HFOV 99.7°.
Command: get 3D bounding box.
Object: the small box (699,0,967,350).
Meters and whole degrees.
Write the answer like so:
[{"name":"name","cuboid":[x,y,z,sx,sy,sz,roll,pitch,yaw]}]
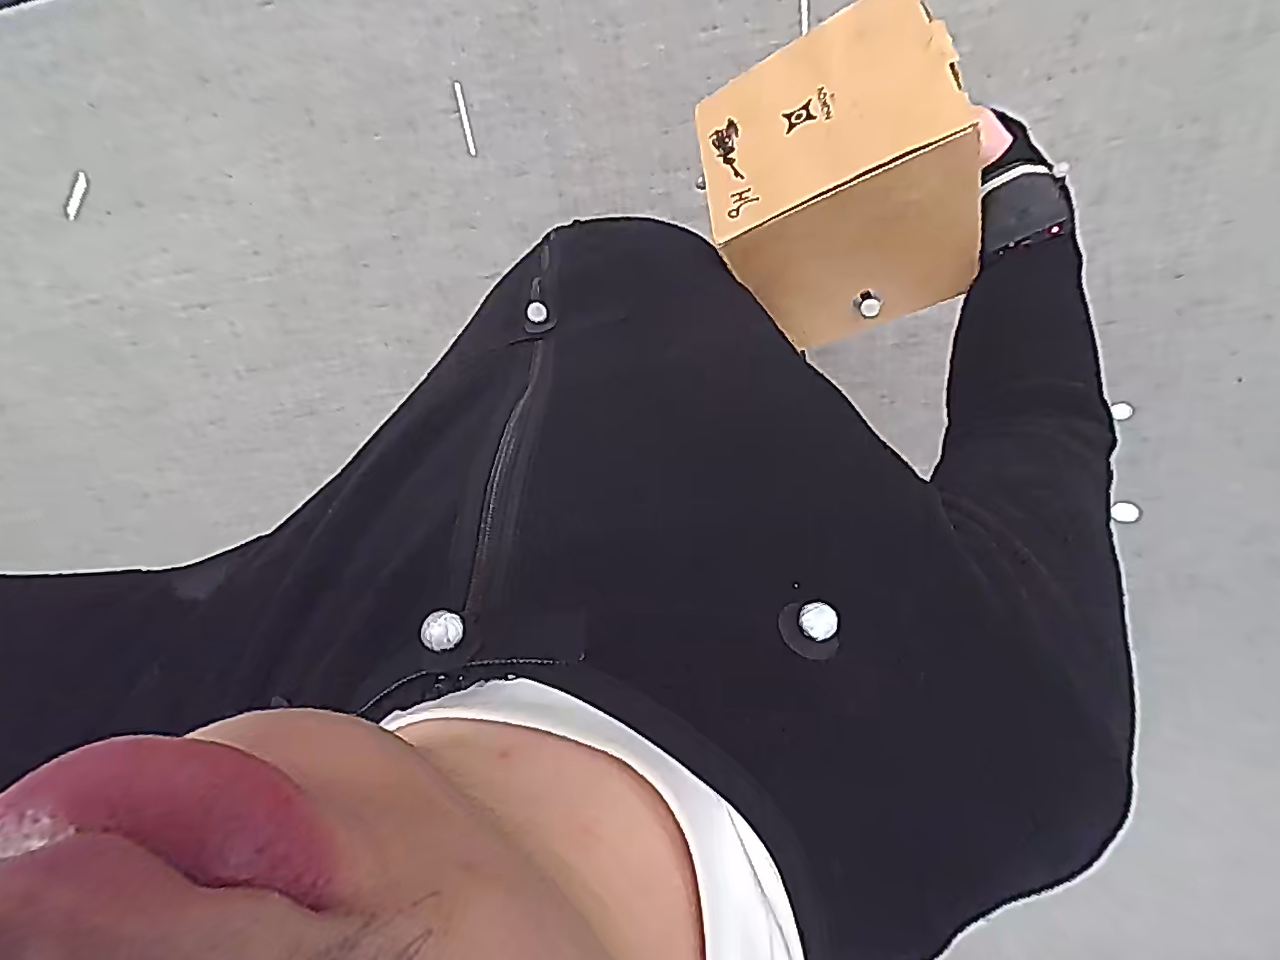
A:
[{"name":"small box","cuboid":[0.171,-0.247,0.481,0.179,0.168,0.176,-15,153,26]}]
